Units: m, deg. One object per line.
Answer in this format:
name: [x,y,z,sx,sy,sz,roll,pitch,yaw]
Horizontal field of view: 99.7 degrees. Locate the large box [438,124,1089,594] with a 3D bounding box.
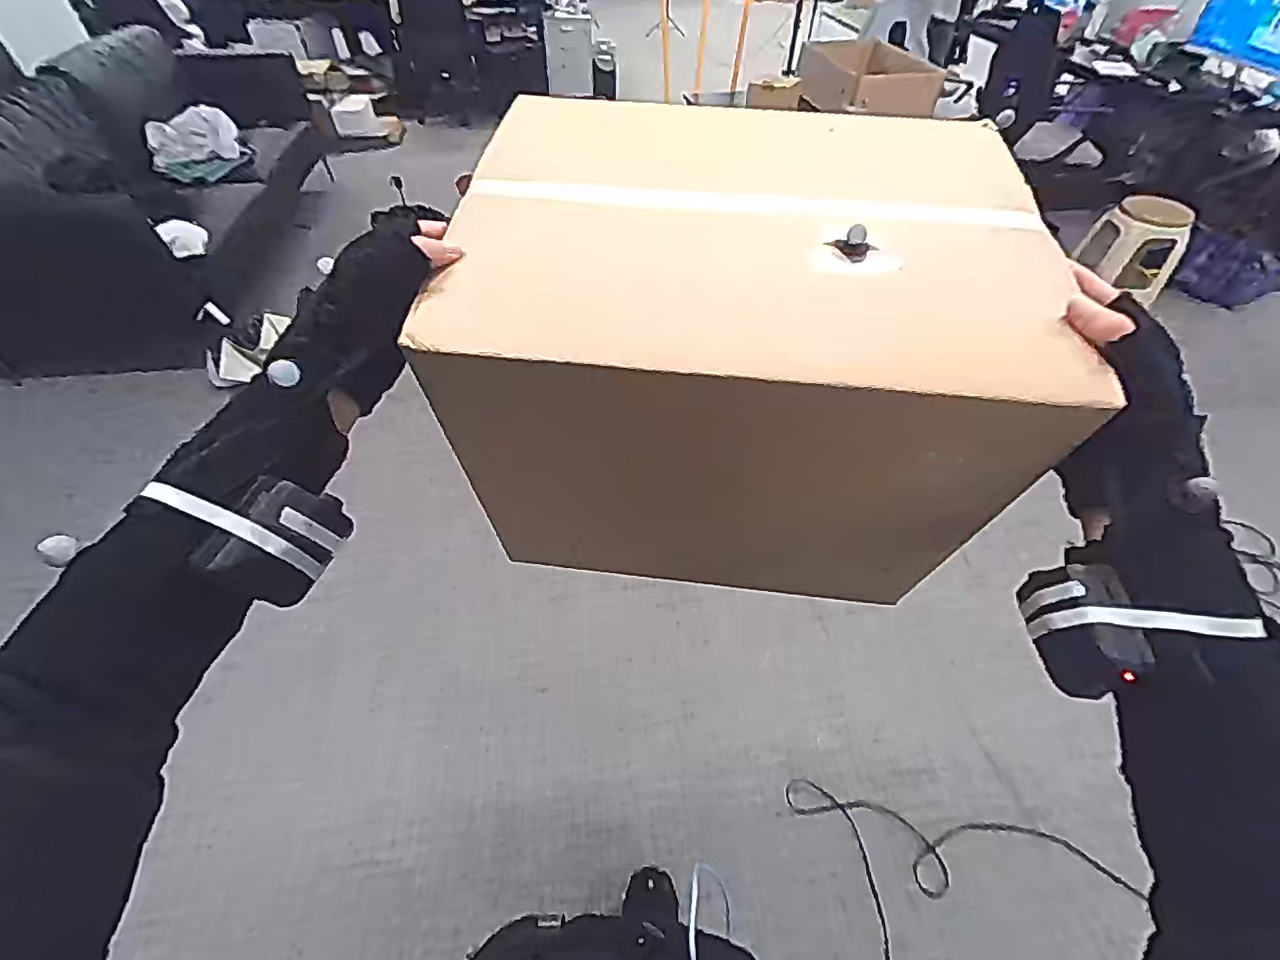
large box: [0.080,-0.102,0.530,0.408,0.320,0.320,6,58,3]
